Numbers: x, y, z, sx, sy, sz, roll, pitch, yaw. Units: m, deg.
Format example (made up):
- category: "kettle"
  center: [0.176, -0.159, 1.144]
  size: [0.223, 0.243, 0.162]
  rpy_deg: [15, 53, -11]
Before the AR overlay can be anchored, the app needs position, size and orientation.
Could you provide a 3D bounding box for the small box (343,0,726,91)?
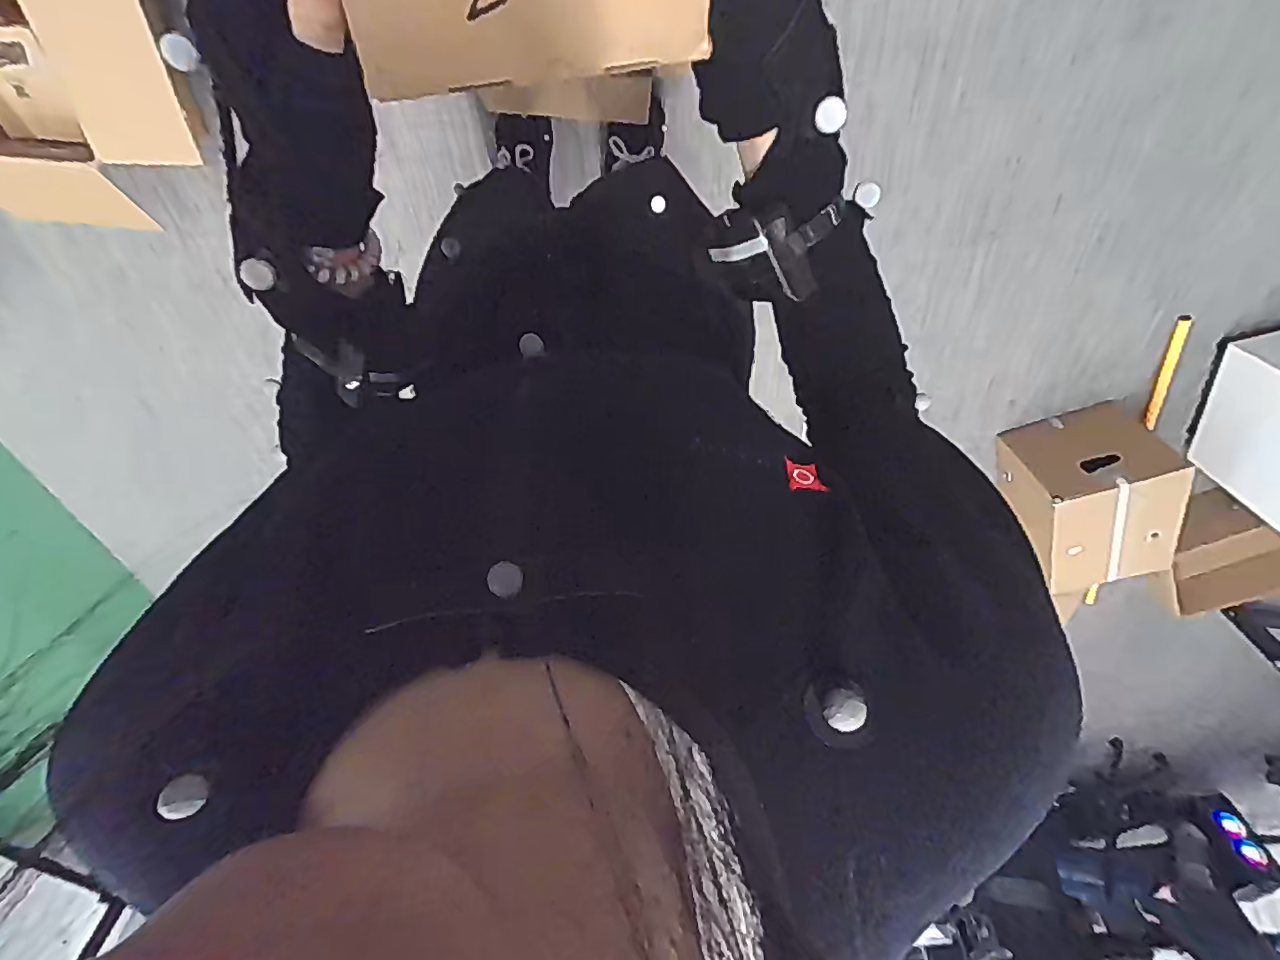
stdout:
- category: "small box"
  center: [-0.066, -0.294, 0.213]
  size: [0.168, 0.176, 0.179]
  rpy_deg: [-21, 150, -17]
